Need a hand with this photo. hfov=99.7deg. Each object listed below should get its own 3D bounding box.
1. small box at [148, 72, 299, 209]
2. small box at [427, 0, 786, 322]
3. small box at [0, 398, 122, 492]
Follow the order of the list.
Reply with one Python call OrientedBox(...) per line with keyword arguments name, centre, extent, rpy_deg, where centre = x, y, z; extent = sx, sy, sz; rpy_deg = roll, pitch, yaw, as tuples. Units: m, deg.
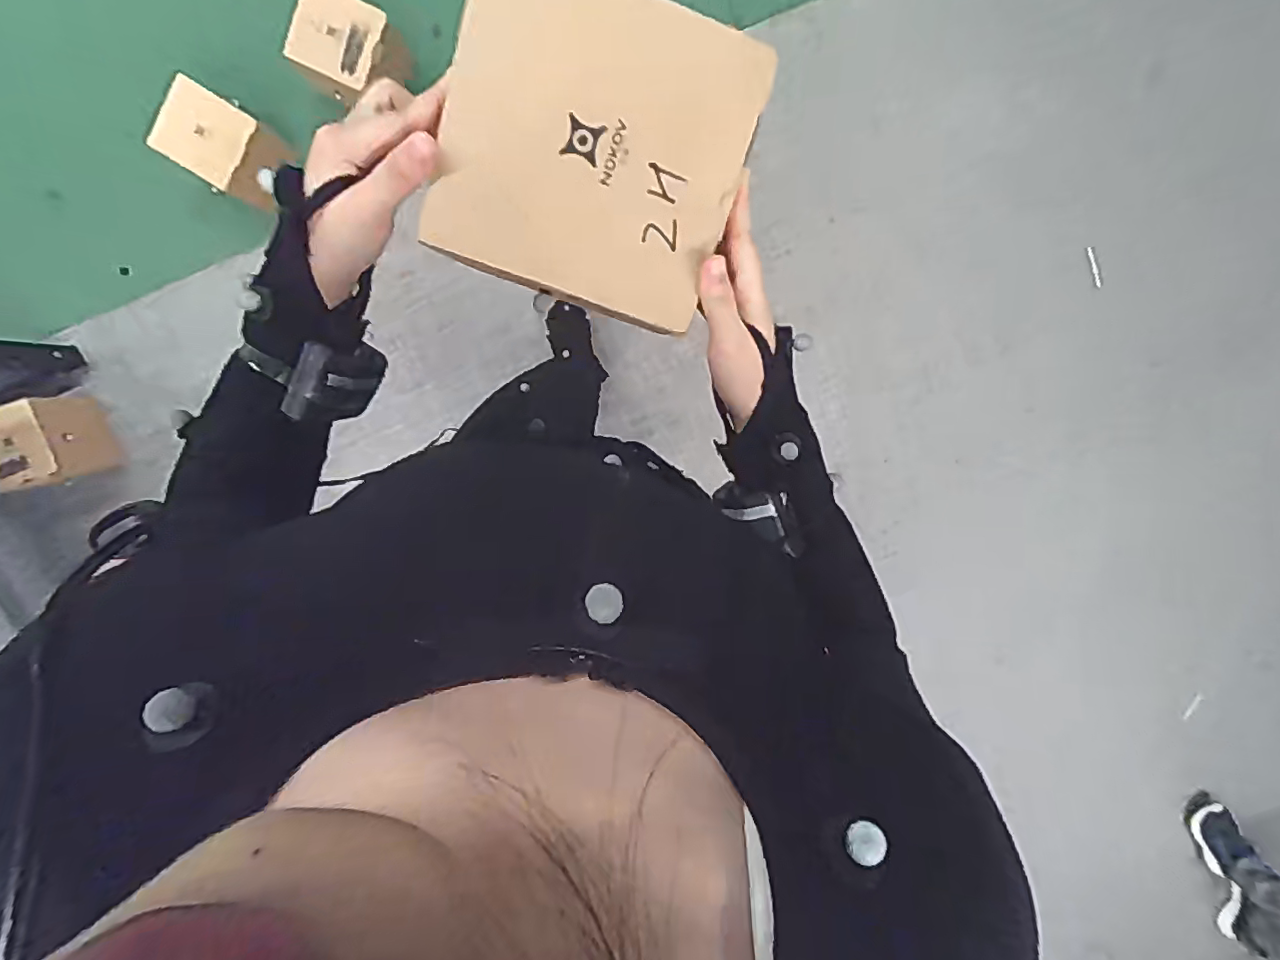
OrientedBox(name="small box", centre=(-0.921, -0.745, 1.213), extent=(0.179, 0.176, 0.168), rpy_deg=(30, 96, -9))
OrientedBox(name="small box", centre=(-0.028, -0.221, 0.395), extent=(0.179, 0.176, 0.168), rpy_deg=(16, 104, -10))
OrientedBox(name="small box", centre=(-1.412, -0.090, 1.289), extent=(0.168, 0.176, 0.179), rpy_deg=(-18, 99, -1))
